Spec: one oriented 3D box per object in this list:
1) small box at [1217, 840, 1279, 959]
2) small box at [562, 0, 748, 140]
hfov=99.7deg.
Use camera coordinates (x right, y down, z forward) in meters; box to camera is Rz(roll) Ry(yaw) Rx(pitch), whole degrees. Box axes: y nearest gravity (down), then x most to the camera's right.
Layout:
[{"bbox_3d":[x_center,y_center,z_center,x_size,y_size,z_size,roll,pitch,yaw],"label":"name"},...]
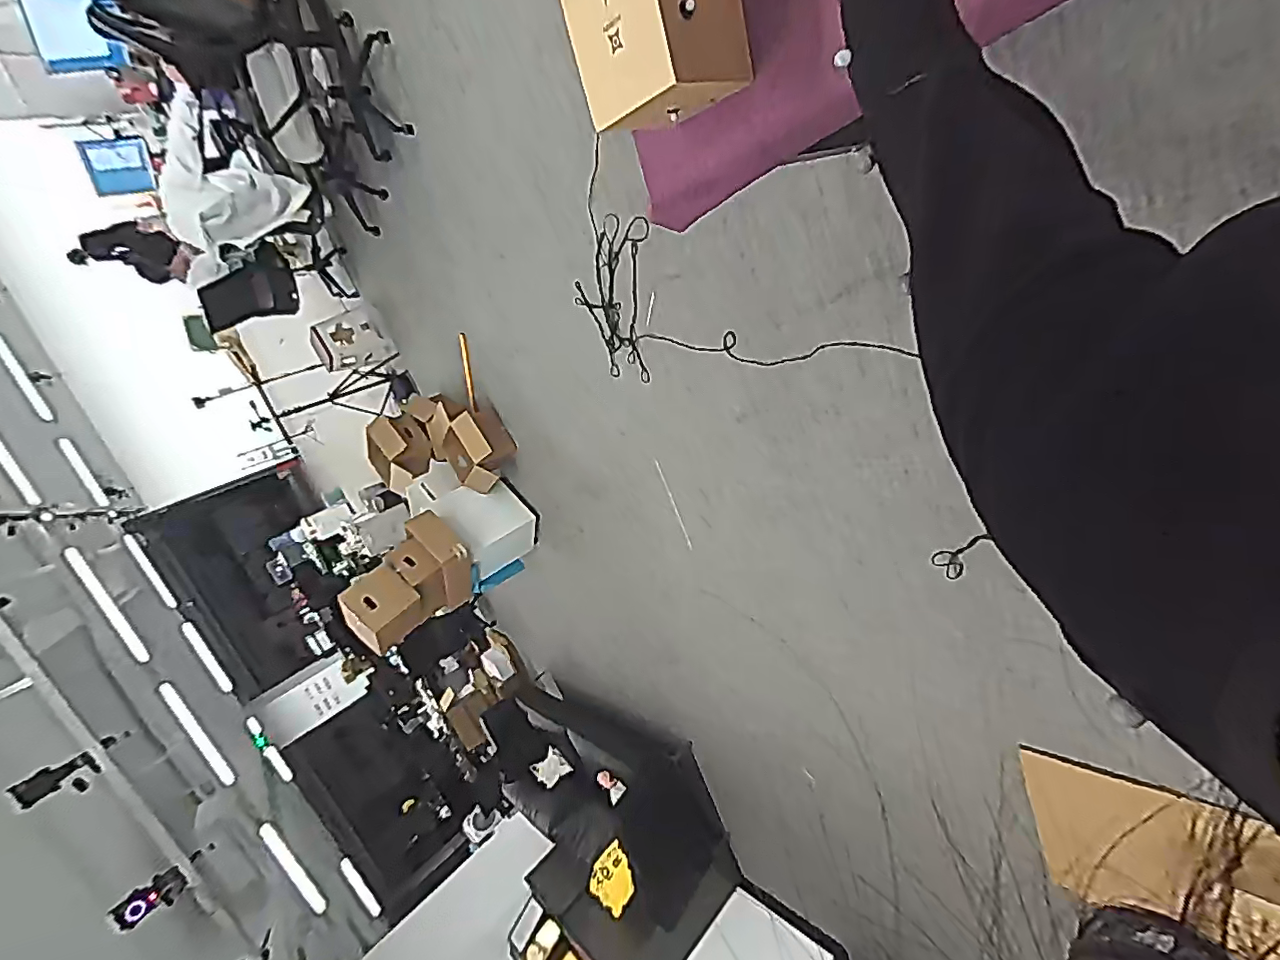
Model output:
[{"bbox_3d":[1.553,1.042,1.329,0.168,0.176,0.179,-7,110,53],"label":"small box"},{"bbox_3d":[0.027,-0.595,0.737,0.168,0.176,0.179,8,121,48],"label":"small box"}]
